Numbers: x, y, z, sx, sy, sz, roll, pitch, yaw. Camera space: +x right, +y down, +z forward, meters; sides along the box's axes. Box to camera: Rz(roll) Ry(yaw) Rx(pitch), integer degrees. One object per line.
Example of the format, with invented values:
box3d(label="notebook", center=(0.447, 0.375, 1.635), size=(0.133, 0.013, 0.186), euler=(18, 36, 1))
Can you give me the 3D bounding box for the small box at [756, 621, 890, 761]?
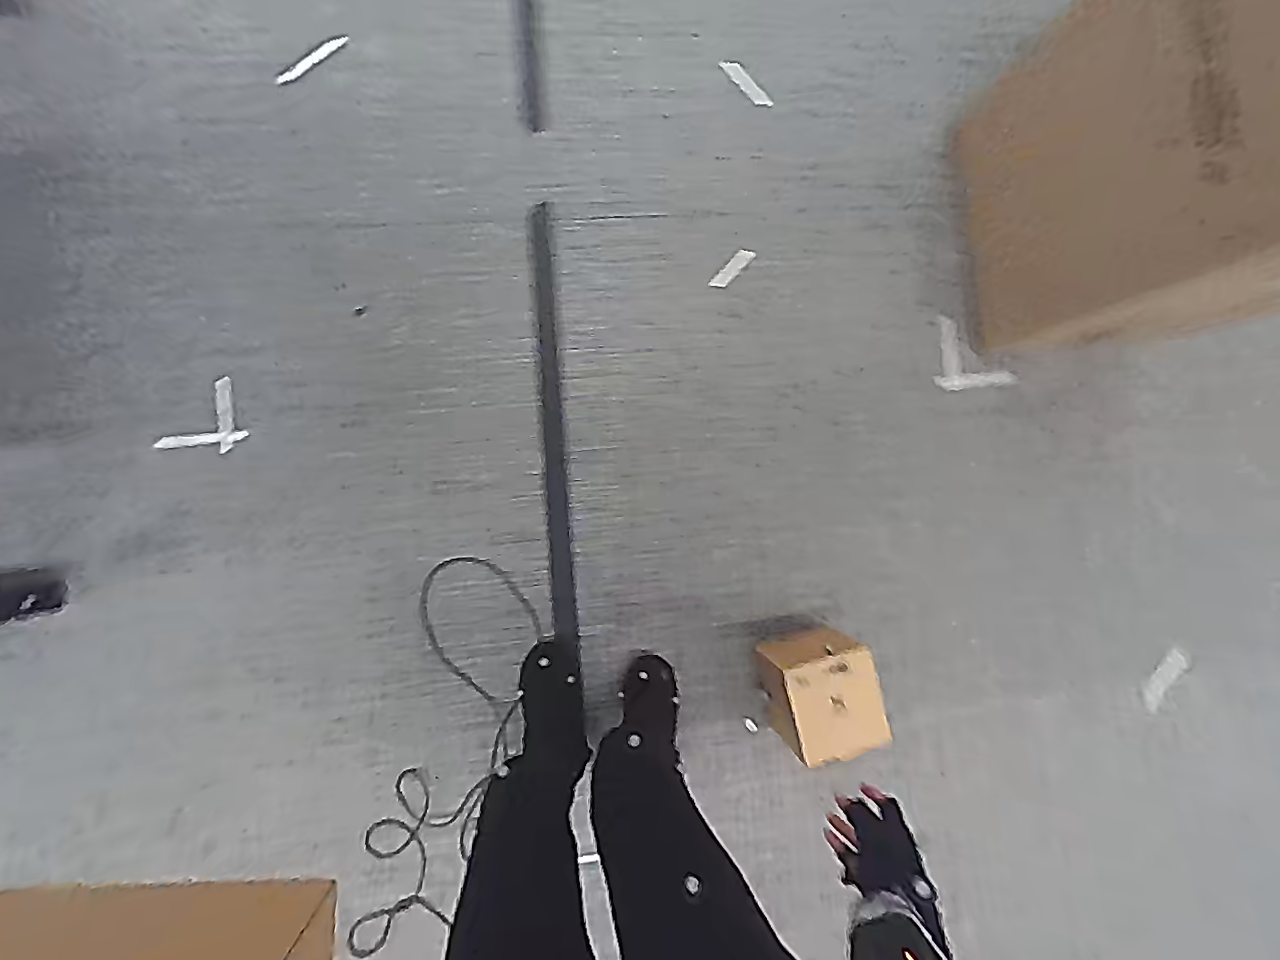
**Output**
box3d(label="small box", center=(0.339, 0.391, 1.031), size=(0.168, 0.176, 0.179), euler=(-15, 90, -6))
